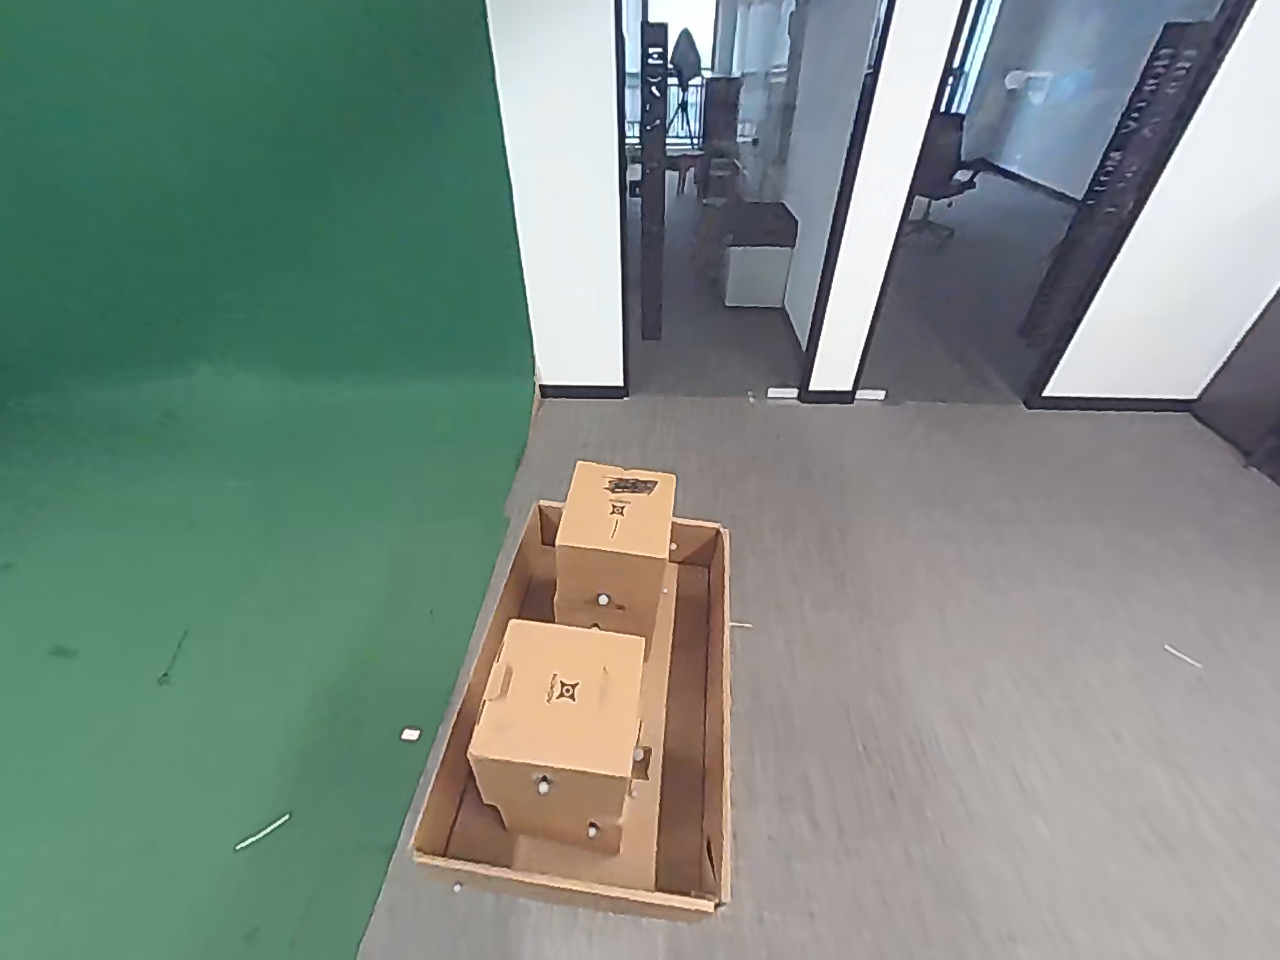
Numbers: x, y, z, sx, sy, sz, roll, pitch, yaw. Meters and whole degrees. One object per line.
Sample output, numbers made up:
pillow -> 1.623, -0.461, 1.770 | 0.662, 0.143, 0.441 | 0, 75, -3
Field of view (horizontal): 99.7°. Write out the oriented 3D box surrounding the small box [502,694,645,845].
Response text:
small box -> -0.098, 0.413, 0.798 | 0.179, 0.176, 0.168 | 11, 44, 3

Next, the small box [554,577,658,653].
small box -> -0.053, 0.207, 1.006 | 0.179, 0.176, 0.168 | 8, 46, 2

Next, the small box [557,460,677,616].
small box -> -0.038, 0.095, 0.886 | 0.168, 0.176, 0.179 | 8, 46, 1

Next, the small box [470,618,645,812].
small box -> -0.094, 0.299, 0.682 | 0.179, 0.176, 0.168 | 8, 45, 0
